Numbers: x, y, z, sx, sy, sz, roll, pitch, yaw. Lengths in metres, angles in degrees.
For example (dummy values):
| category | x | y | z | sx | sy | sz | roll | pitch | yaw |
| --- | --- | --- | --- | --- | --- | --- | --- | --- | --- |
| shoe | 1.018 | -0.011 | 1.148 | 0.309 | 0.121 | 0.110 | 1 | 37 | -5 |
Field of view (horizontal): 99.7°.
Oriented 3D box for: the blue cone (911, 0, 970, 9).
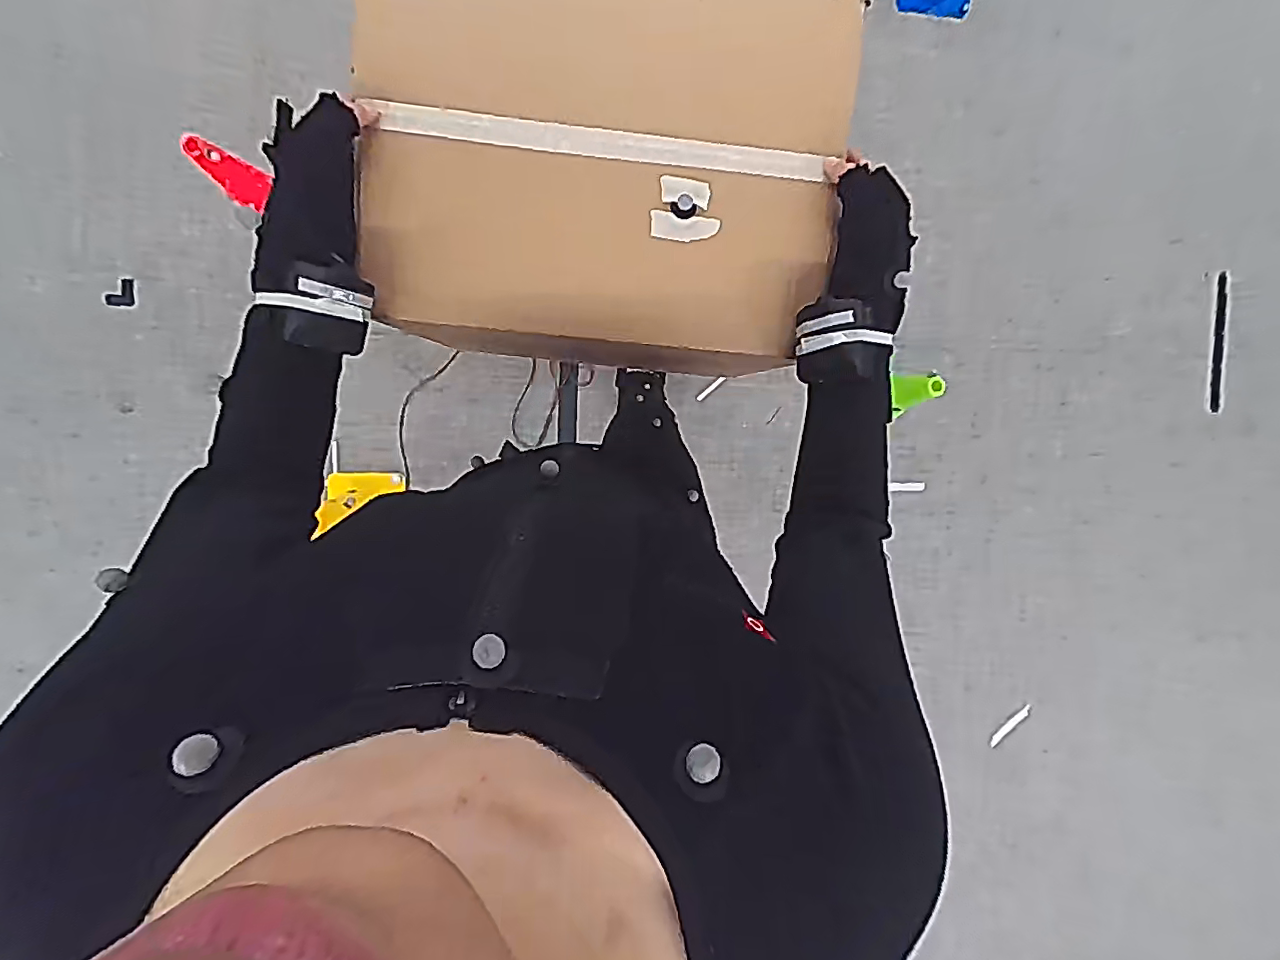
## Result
| category | x | y | z | sx | sy | sz | roll | pitch | yaw |
| --- | --- | --- | --- | --- | --- | --- | --- | --- | --- |
| blue cone | 0.800 | -1.333 | 1.256 | 0.192 | 0.380 | 0.193 | 4 | 94 | -5 |

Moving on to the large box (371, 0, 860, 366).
| category | x | y | z | sx | sy | sz | roll | pitch | yaw |
| --- | --- | --- | --- | --- | --- | --- | --- | --- | --- |
| large box | -0.034 | -0.308 | 0.602 | 0.408 | 0.320 | 0.320 | 4 | 98 | -5 |

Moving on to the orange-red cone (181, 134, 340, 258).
| category | x | y | z | sx | sy | sz | roll | pitch | yaw |
| --- | --- | --- | --- | --- | --- | --- | --- | --- | --- |
| orange-red cone | -0.851 | -0.646 | 1.191 | 0.198 | 0.360 | 0.199 | -1 | 96 | -2 |

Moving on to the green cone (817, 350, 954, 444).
| category | x | y | z | sx | sy | sz | roll | pitch | yaw |
| --- | --- | --- | --- | --- | --- | --- | --- | --- | --- |
| green cone | 0.620 | -0.216 | 1.307 | 0.202 | 0.368 | 0.200 | -36 | 96 | -2 |
